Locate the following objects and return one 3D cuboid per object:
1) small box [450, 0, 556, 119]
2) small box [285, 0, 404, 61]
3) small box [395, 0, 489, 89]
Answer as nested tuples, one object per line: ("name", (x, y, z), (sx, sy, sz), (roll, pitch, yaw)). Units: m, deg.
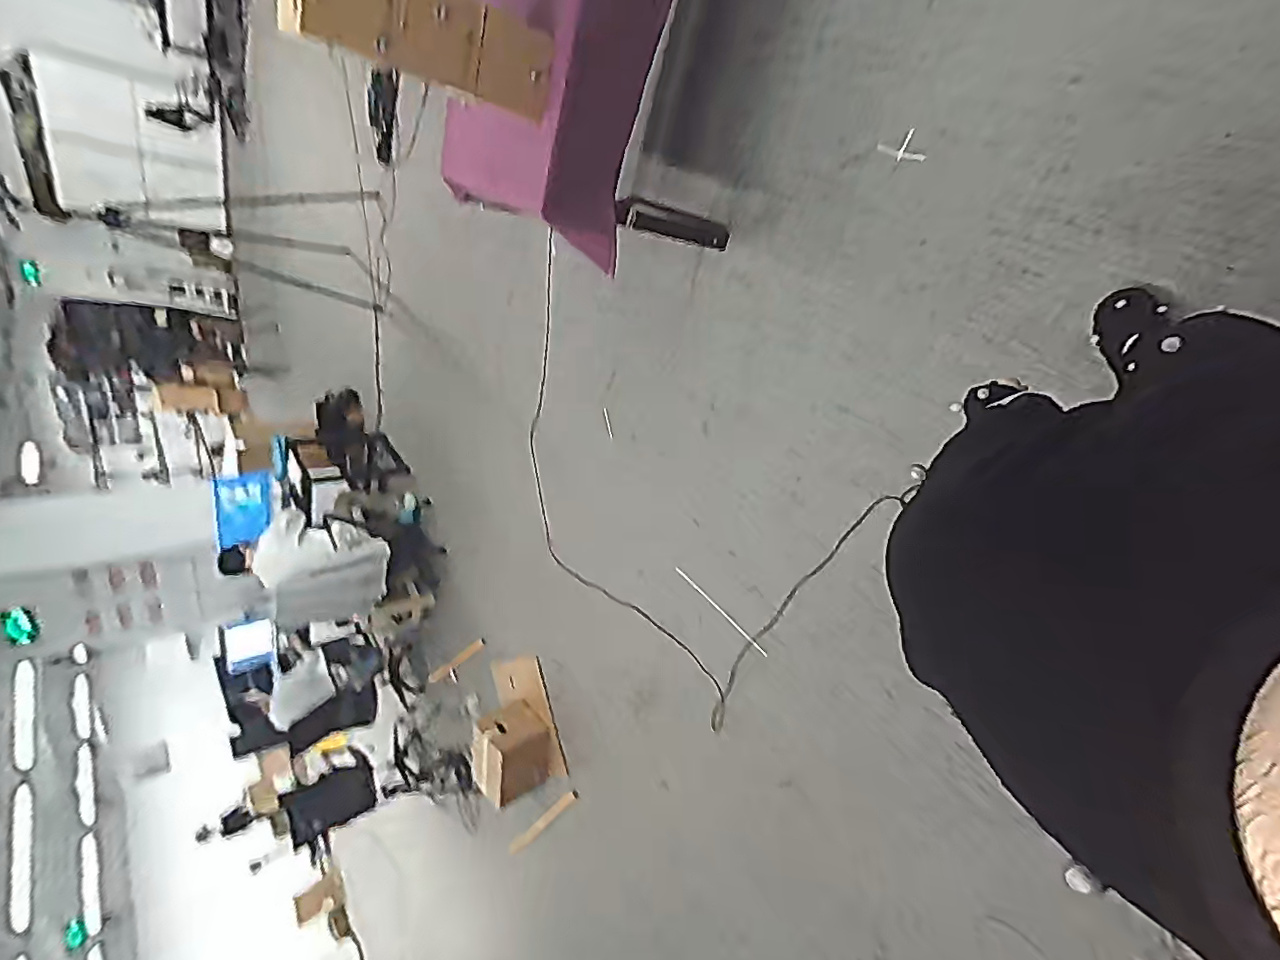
("small box", (-0.314, -0.969, 1.243), (0.168, 0.176, 0.179), (42, 125, 35))
("small box", (-0.562, -0.931, 1.031), (0.179, 0.176, 0.168), (41, 124, 36))
("small box", (-0.436, -0.953, 1.136), (0.179, 0.176, 0.168), (44, 126, 34))
